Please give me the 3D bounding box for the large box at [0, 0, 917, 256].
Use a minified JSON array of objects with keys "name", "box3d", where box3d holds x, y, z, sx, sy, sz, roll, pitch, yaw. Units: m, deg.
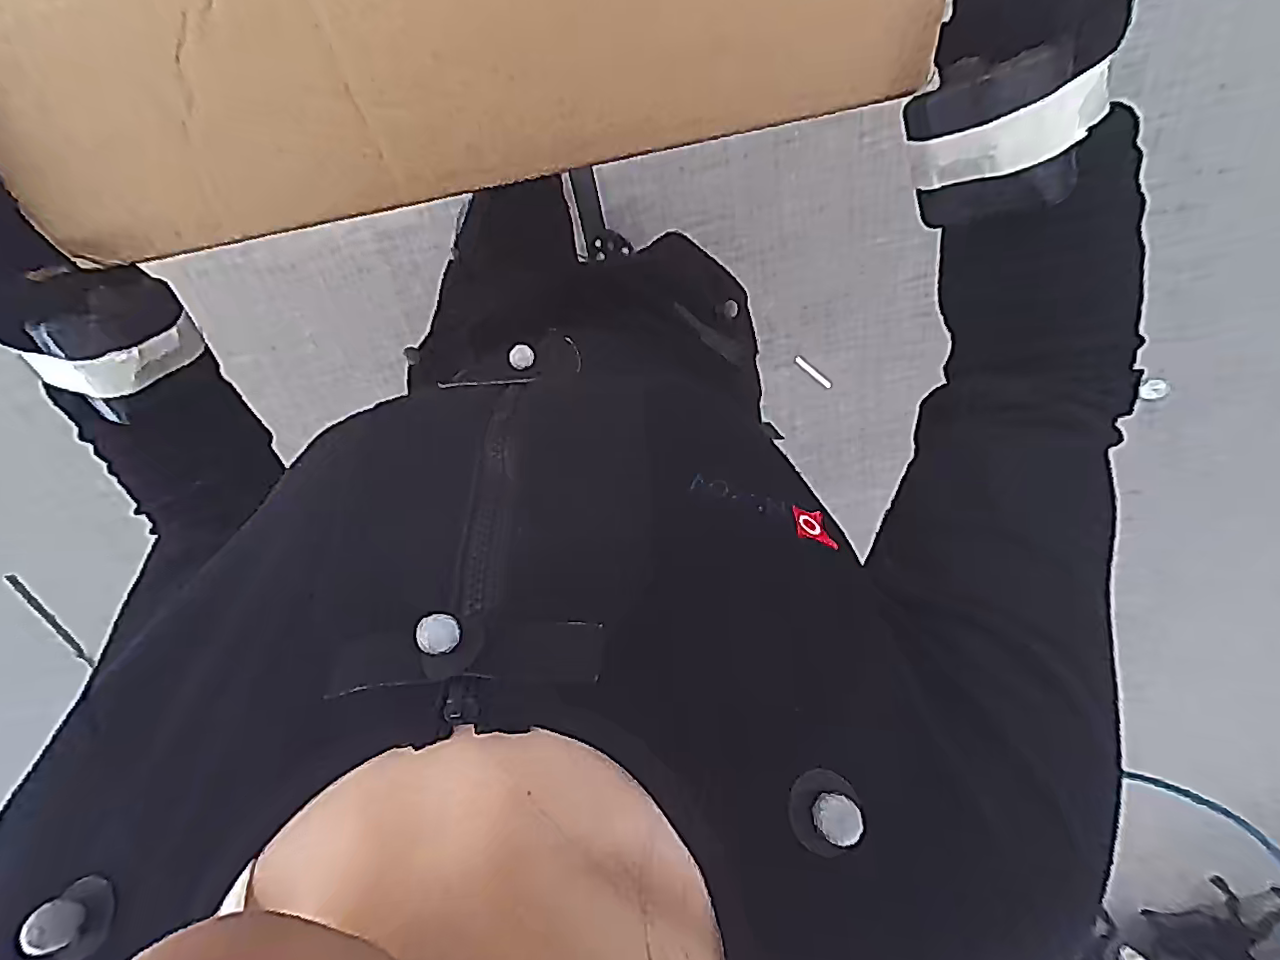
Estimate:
[{"name":"large box","box3d":[-0.111,-0.356,0.242,0.408,0.320,0.320,-10,138,4]}]
